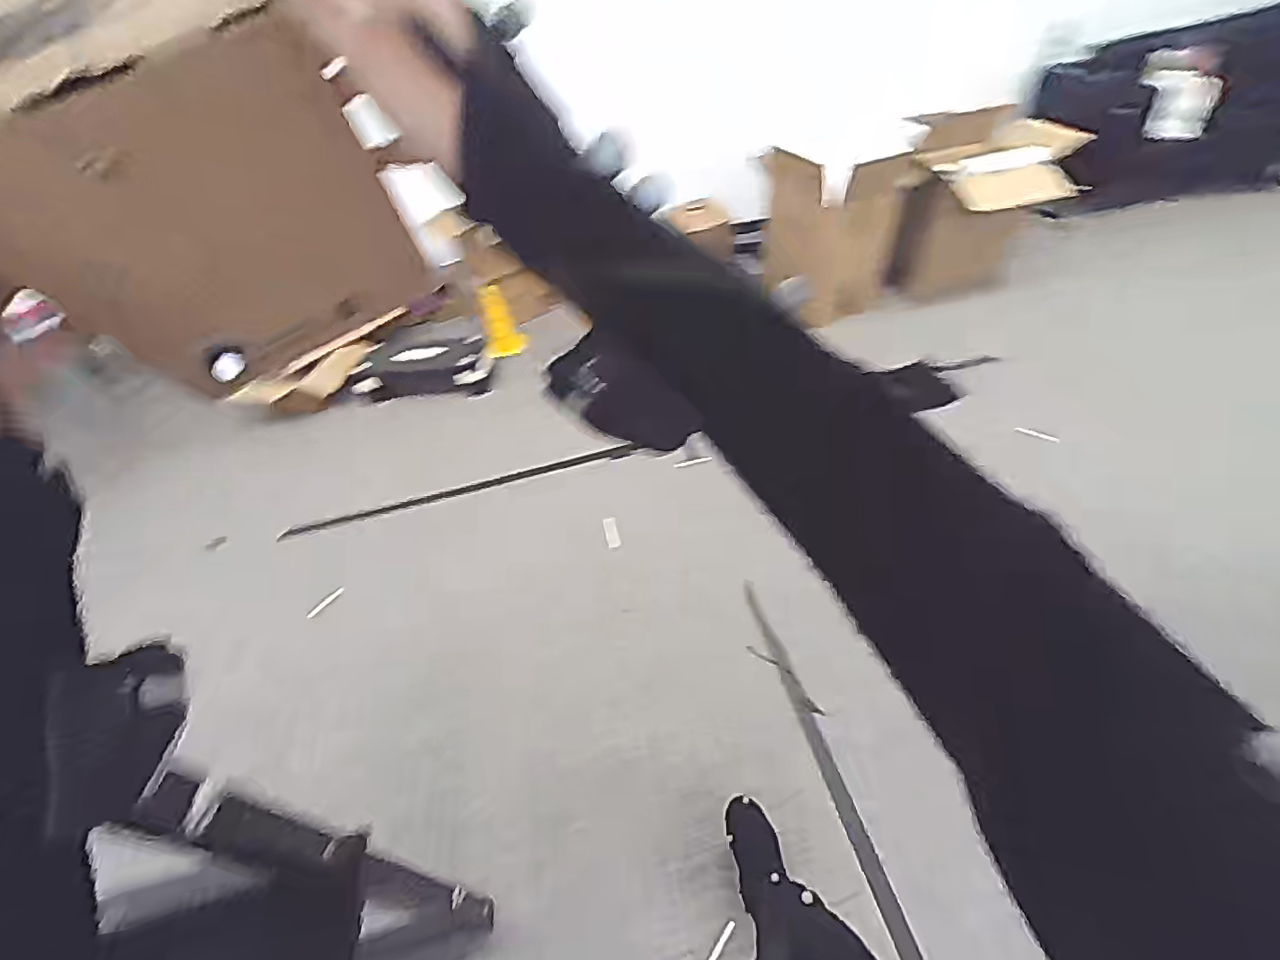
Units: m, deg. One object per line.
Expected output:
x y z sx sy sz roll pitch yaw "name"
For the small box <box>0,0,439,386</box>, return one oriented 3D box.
-0.243 -0.177 0.302 0.168 0.176 0.179 -32 73 -10 "small box"
